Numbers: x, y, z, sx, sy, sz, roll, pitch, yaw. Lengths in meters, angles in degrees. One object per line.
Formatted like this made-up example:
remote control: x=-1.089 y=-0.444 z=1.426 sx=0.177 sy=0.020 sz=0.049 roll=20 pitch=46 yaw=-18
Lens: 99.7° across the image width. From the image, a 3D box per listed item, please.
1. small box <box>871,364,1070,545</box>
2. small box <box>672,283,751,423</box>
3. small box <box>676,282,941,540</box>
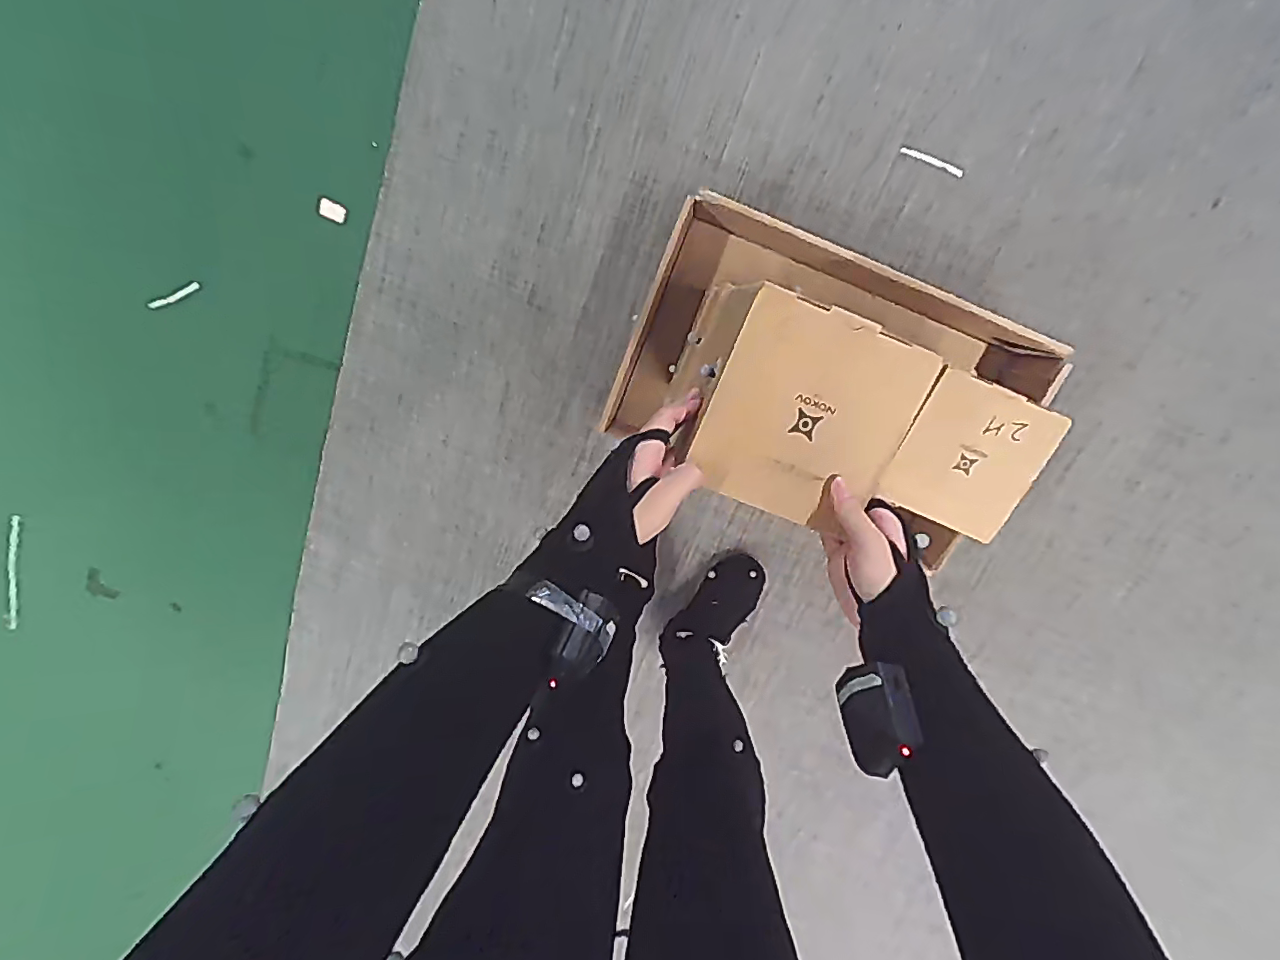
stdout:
small box: x=0.403 y=-0.047 z=0.726 sx=0.168 sy=0.176 sz=0.179 roll=24 pitch=107 yaw=-1
small box: x=0.148 y=-0.141 z=0.716 sx=0.168 sy=0.176 sz=0.179 roll=22 pitch=107 yaw=-2
small box: x=0.140 y=-0.075 z=0.529 sx=0.168 sy=0.176 sz=0.179 roll=21 pitch=107 yaw=-6
